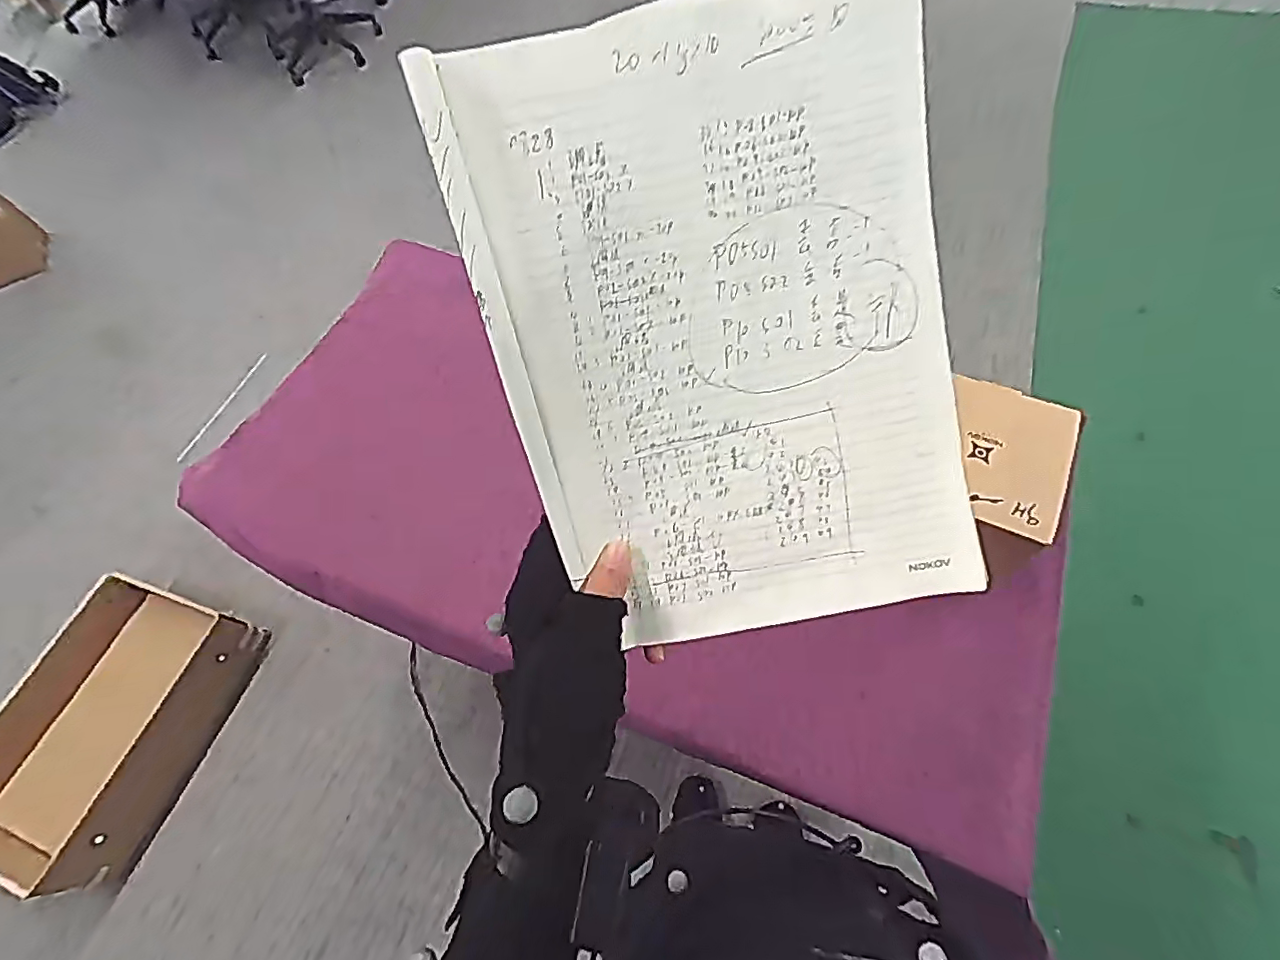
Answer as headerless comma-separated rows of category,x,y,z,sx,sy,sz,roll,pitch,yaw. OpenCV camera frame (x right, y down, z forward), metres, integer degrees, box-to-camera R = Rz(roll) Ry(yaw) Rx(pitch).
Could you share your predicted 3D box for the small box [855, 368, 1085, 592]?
small box,0.377,0.005,0.645,0.168,0.176,0.179,24,67,18
